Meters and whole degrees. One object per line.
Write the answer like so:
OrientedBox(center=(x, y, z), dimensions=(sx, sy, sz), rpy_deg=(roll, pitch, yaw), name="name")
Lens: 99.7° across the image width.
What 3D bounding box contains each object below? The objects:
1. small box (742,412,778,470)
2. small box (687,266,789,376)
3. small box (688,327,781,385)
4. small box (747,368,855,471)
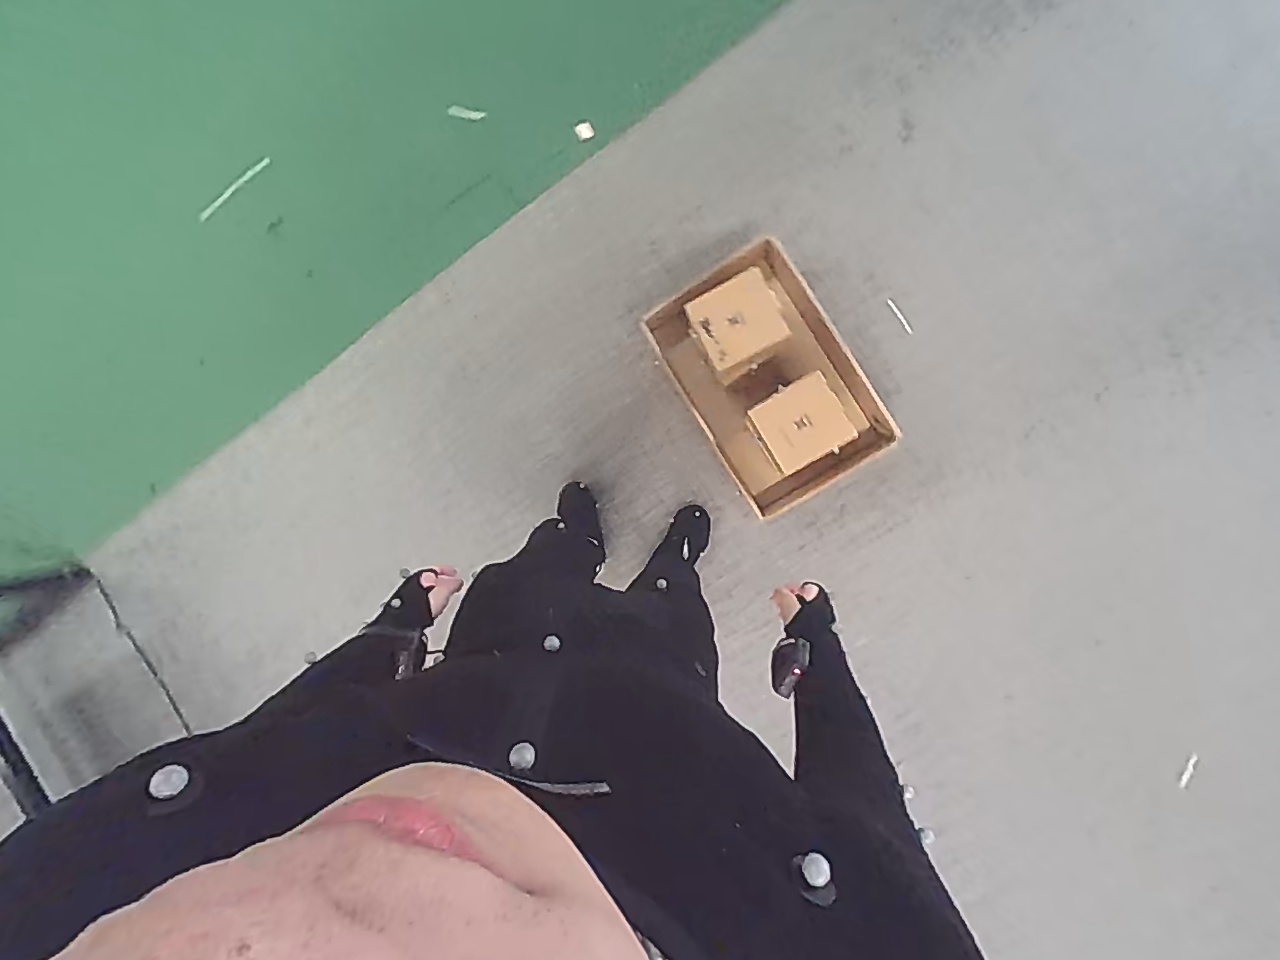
OrientedBox(center=(0.382, -0.140, 1.412), dimensions=(0.179, 0.176, 0.168), rpy_deg=(-33, 88, 9), name="small box")
OrientedBox(center=(0.220, -0.359, 1.252), dimensions=(0.179, 0.176, 0.168), rpy_deg=(-26, 89, 8), name="small box")
OrientedBox(center=(0.246, -0.365, 1.416), dimensions=(0.179, 0.176, 0.168), rpy_deg=(-33, 90, 9), name="small box")
OrientedBox(center=(0.360, -0.135, 1.250), dimensions=(0.179, 0.176, 0.168), rpy_deg=(-30, 87, 9), name="small box")
